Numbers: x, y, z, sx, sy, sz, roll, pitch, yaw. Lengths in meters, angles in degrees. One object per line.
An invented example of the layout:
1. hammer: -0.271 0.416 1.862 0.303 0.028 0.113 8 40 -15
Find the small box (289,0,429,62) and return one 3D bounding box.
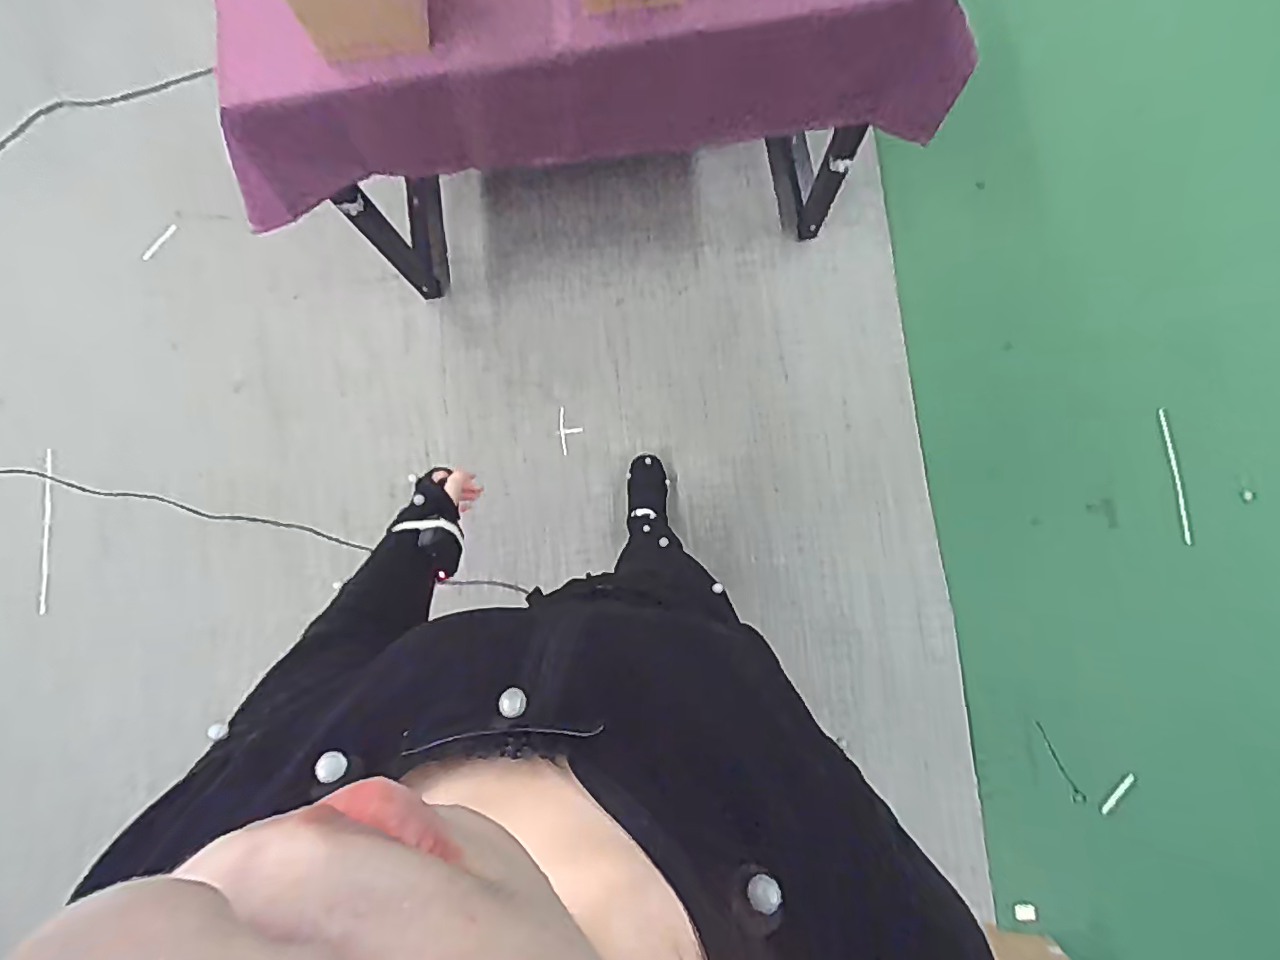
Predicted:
1. small box: -0.436 -0.787 0.825 0.179 0.176 0.168 -6 81 2
